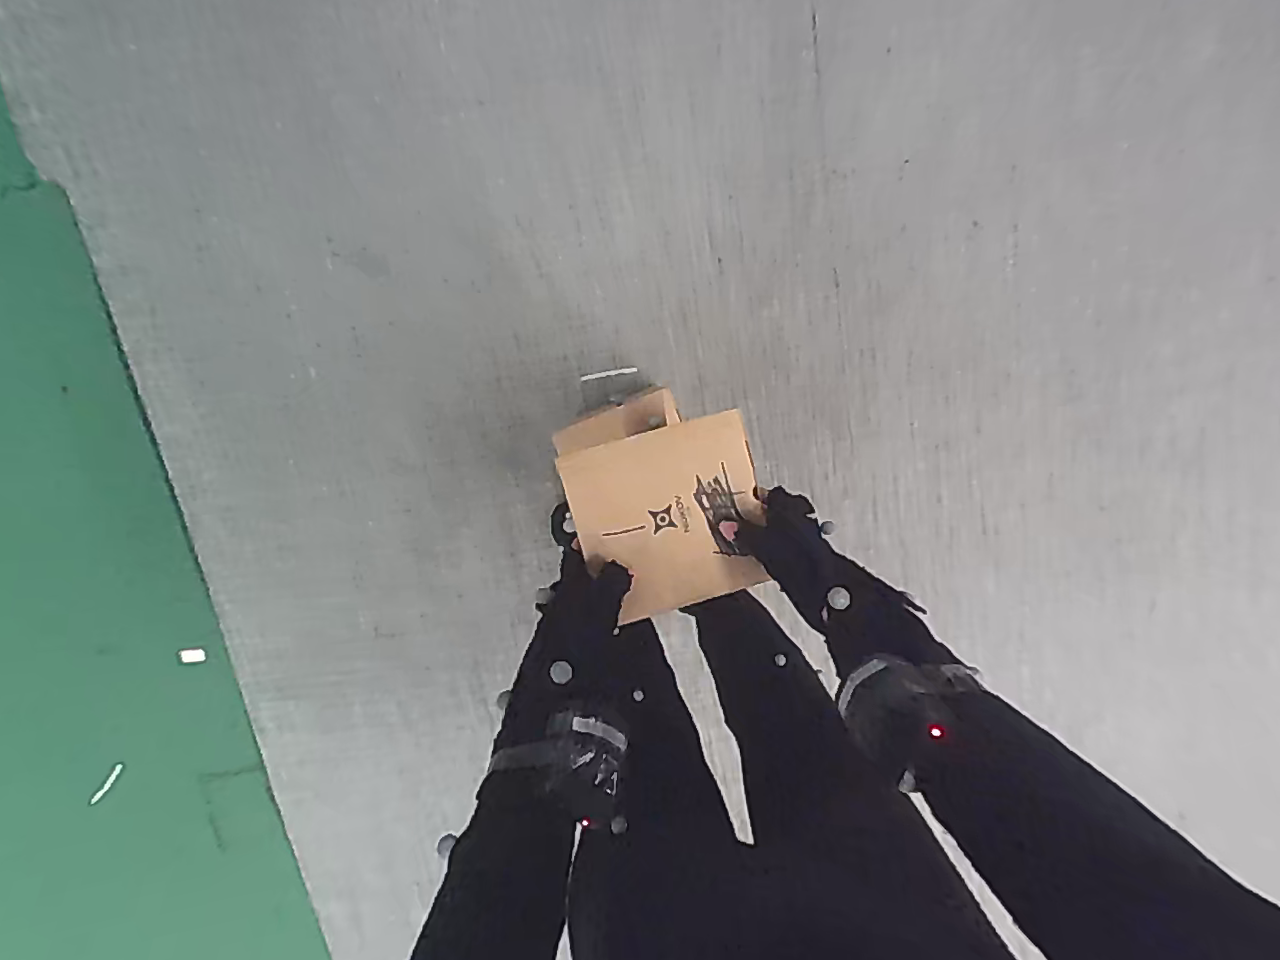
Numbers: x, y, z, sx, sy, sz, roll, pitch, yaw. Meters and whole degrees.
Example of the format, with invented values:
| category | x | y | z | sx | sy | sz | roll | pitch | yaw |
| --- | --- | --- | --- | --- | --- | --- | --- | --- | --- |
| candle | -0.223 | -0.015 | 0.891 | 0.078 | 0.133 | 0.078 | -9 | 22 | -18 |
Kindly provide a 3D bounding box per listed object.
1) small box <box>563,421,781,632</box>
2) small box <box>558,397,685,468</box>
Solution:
| category | x | y | z | sx | sy | sz | roll | pitch | yaw |
| --- | --- | --- | --- | --- | --- | --- | --- | --- | --- |
| small box | 0.025 | 0.038 | 0.578 | 0.179 | 0.176 | 0.168 | -15 | 94 | -3 |
| small box | -0.006 | -0.020 | 0.828 | 0.179 | 0.176 | 0.168 | -24 | 101 | 5 |
